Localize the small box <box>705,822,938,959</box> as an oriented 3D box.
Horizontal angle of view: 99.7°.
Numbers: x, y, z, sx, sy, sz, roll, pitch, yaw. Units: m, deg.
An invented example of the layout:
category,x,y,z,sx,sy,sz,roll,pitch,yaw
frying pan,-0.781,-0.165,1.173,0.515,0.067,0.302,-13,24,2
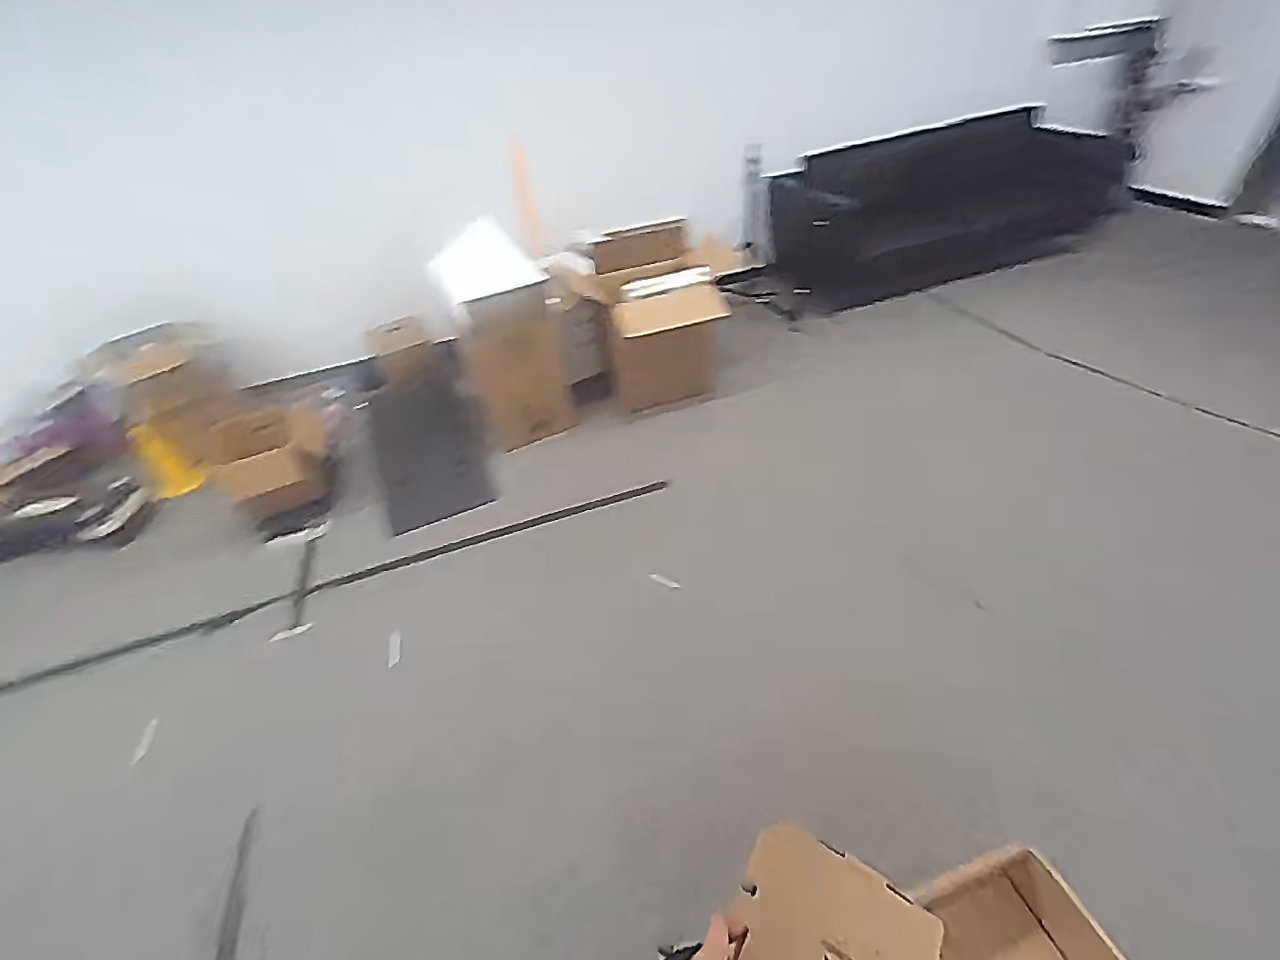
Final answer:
category,x,y,z,sx,sy,sz,roll,pitch,yaw
small box,0.180,0.504,0.576,0.168,0.176,0.179,27,58,17
